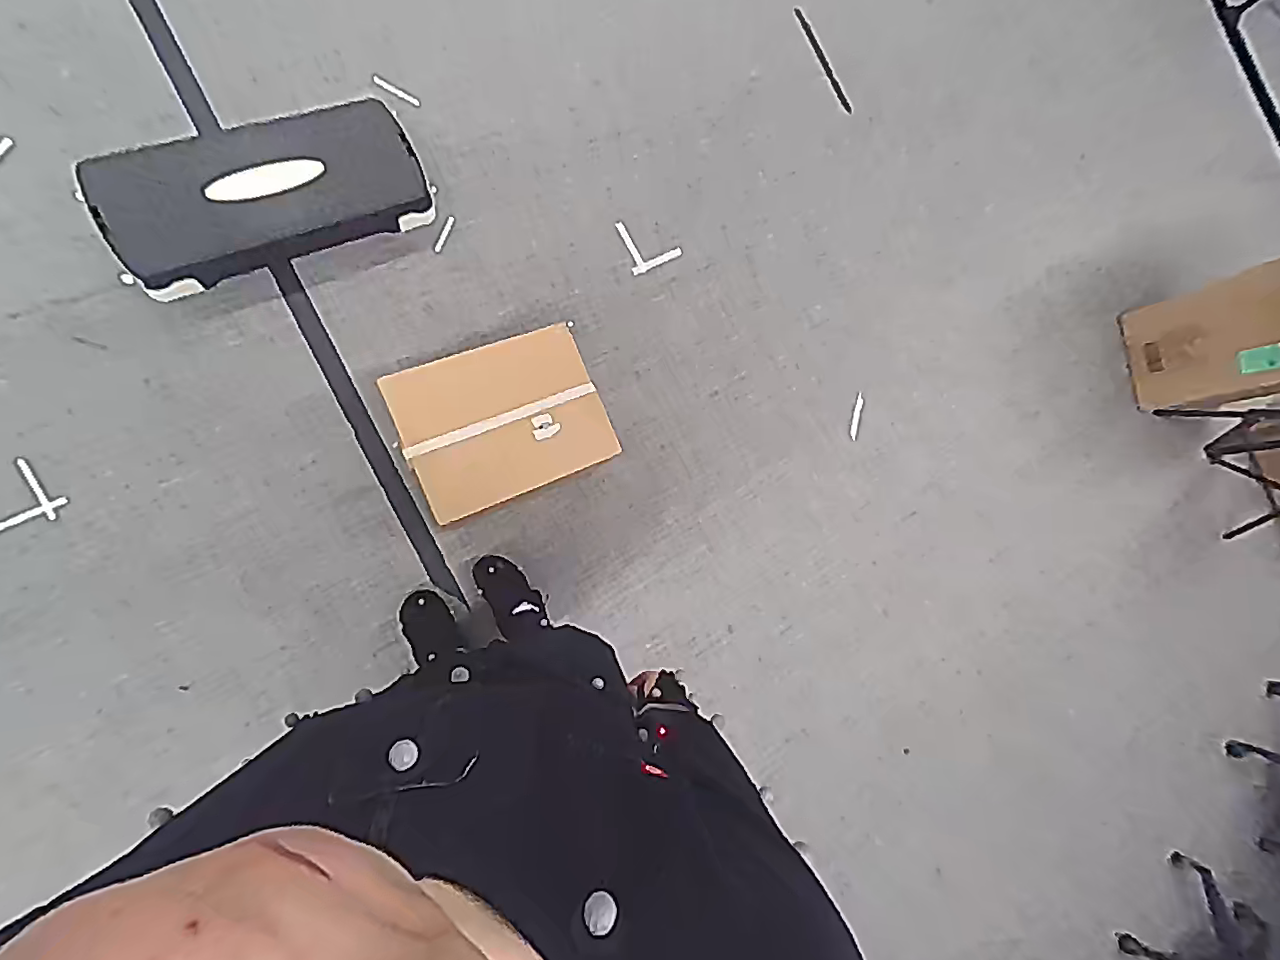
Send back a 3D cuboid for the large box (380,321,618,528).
[{"bbox_3d":[-0.323,-0.112,1.252,0.408,0.320,0.320,-23,91,-20],"label":"large box"}]
